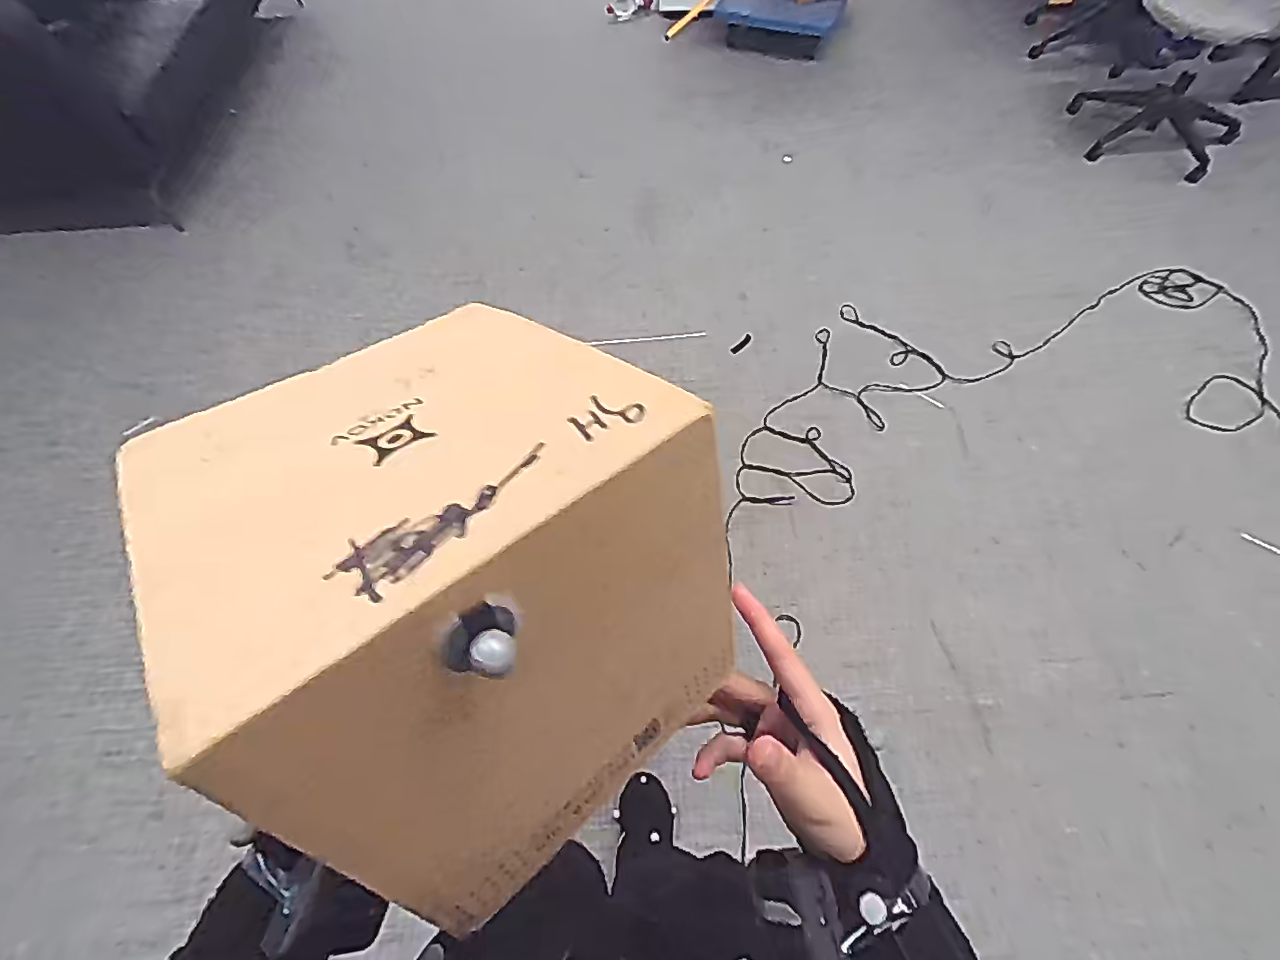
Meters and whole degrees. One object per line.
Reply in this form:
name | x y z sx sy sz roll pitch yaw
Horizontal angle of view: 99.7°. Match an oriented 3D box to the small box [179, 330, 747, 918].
small box | -0.068 0.053 0.259 0.168 0.176 0.179 -35 45 -26
